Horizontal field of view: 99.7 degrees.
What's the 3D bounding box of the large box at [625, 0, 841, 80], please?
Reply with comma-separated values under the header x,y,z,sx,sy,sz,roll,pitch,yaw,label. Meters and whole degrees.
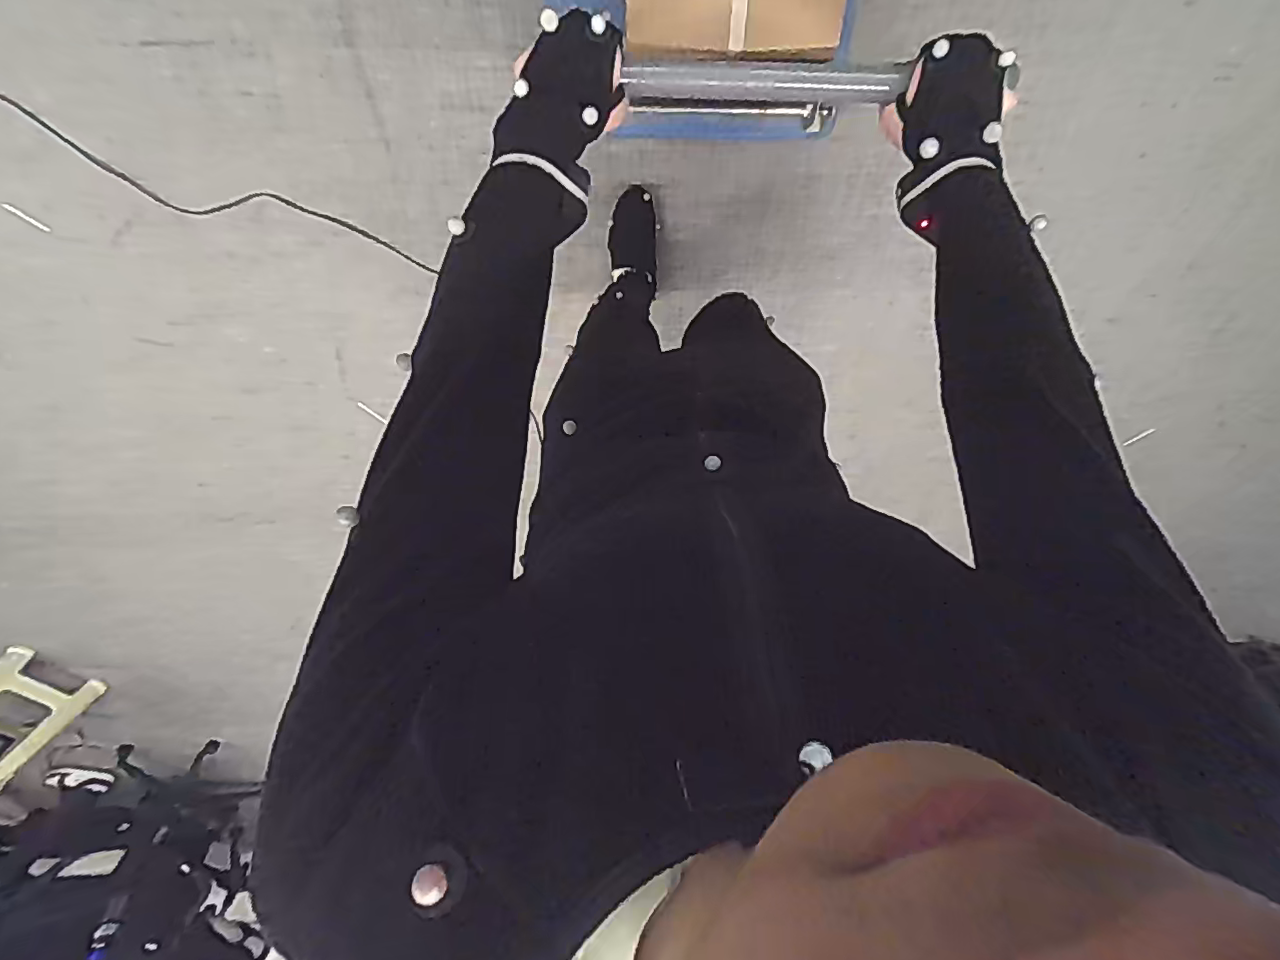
x,y,z,sx,sy,sz,roll,pitch,yaw,label
0.132,-0.877,0.830,0.320,0.320,0.408,-1,122,-1,large box
